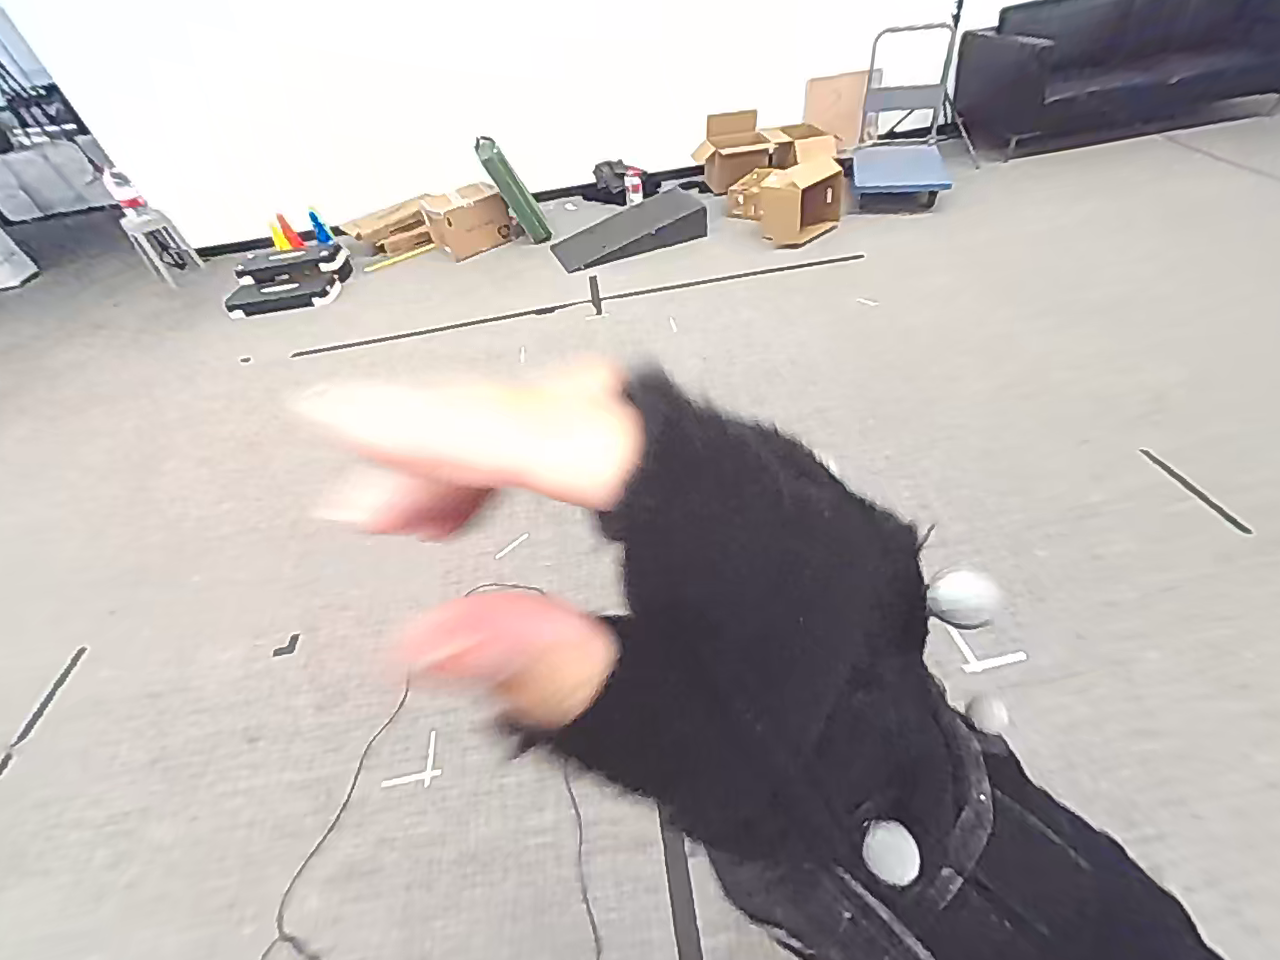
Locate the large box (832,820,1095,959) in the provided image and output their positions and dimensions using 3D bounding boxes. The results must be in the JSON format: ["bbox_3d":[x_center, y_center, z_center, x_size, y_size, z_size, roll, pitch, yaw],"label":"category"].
[{"bbox_3d":[0.565,0.872,0.924,0.320,0.320,0.408,-8,43,-1],"label":"large box"}]
